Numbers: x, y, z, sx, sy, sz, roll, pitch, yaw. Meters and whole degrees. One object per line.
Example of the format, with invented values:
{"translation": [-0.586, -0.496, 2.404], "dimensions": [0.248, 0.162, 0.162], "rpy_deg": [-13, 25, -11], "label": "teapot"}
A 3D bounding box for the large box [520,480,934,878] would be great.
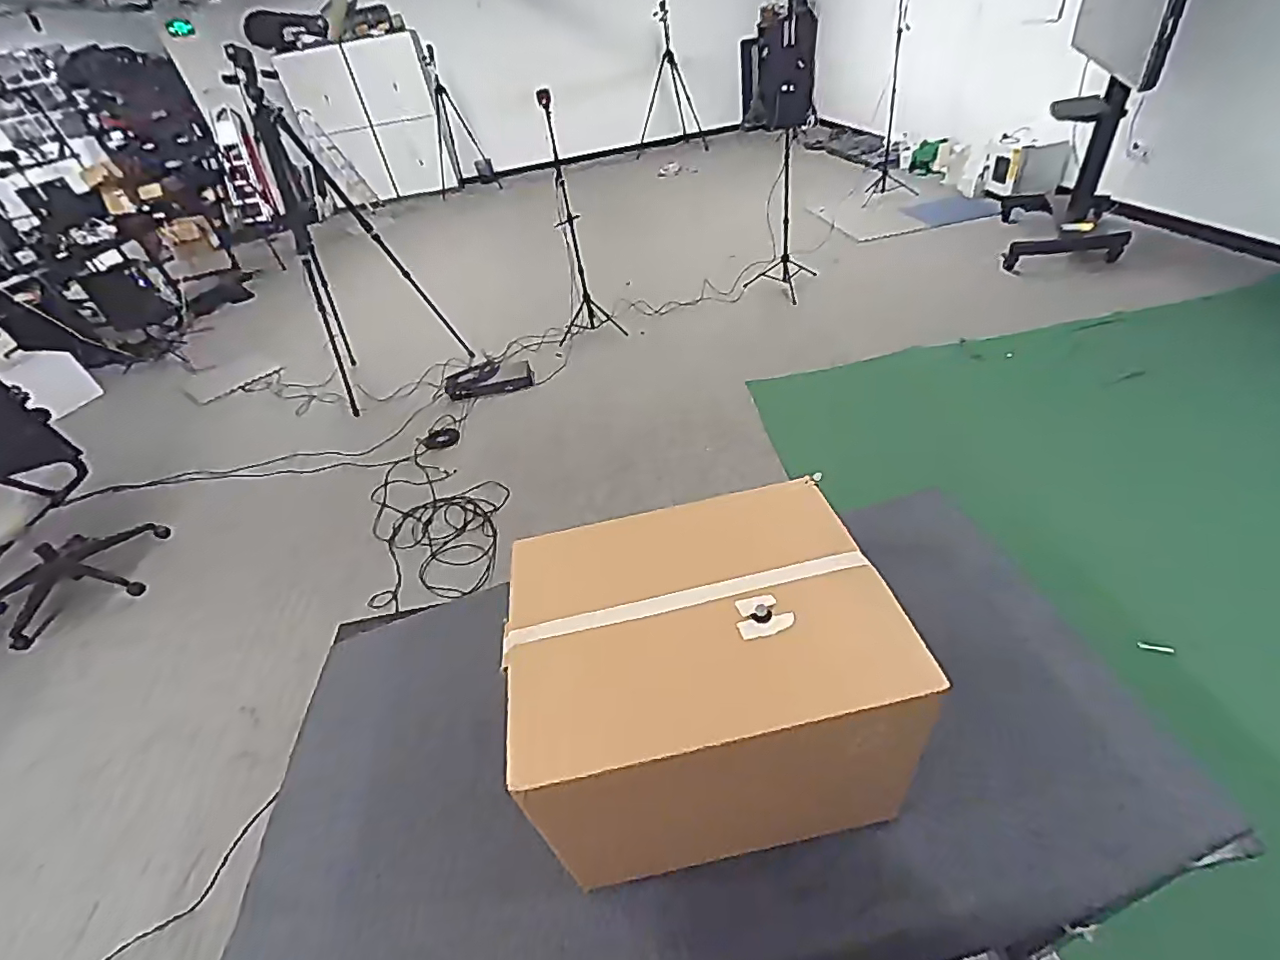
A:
{"translation": [0.079, 0.249, 0.703], "dimensions": [0.408, 0.320, 0.320], "rpy_deg": [-12, 40, -2], "label": "large box"}
